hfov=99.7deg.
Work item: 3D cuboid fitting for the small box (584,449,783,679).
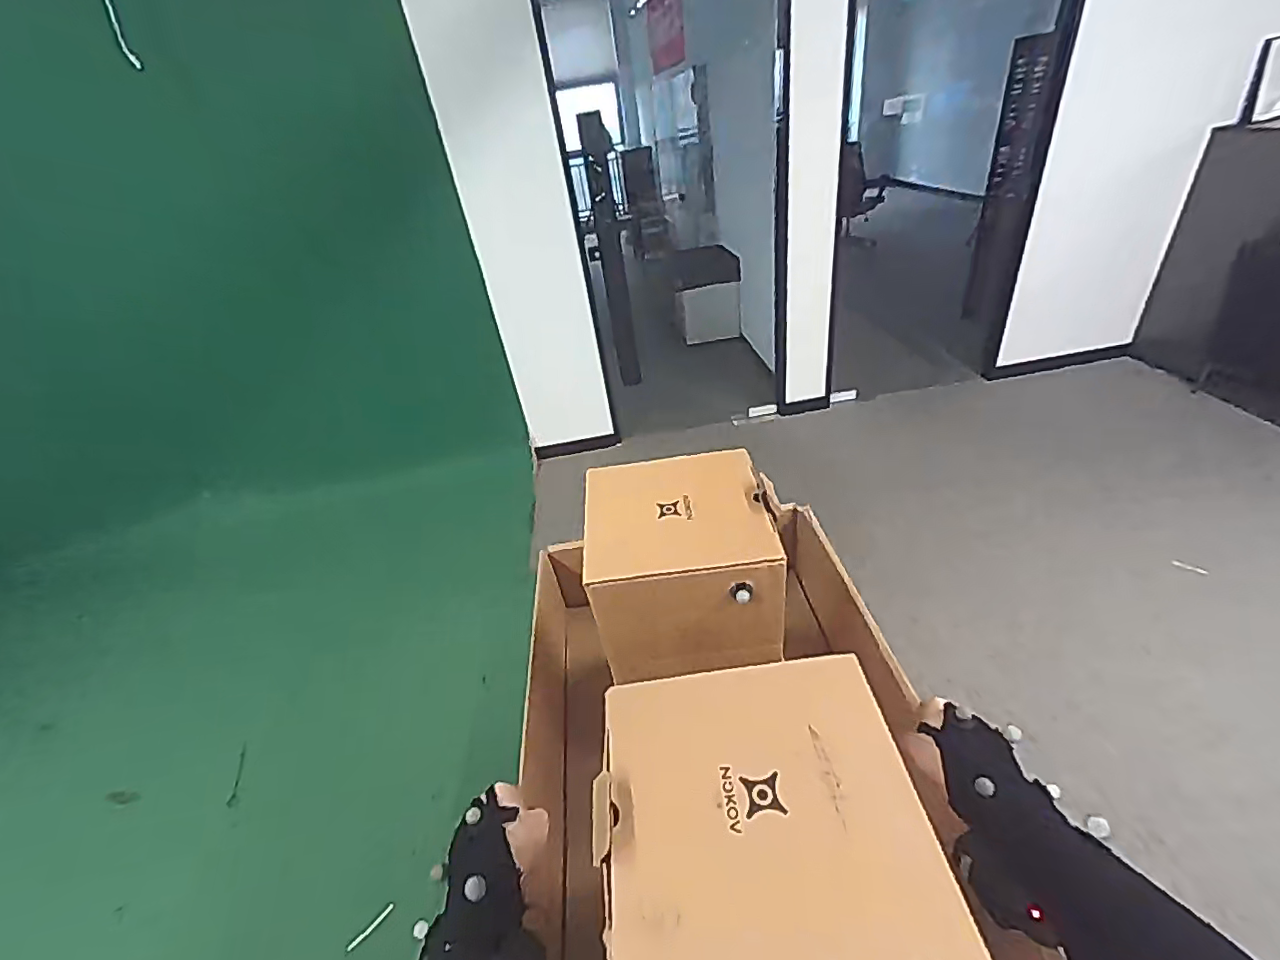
[{"bbox_3d":[0.044,0.091,0.572,0.179,0.176,0.168,-7,38,2],"label":"small box"}]

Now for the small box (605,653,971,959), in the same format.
[{"bbox_3d":[0.077,0.245,0.364,0.179,0.176,0.168,-8,38,1],"label":"small box"}]
